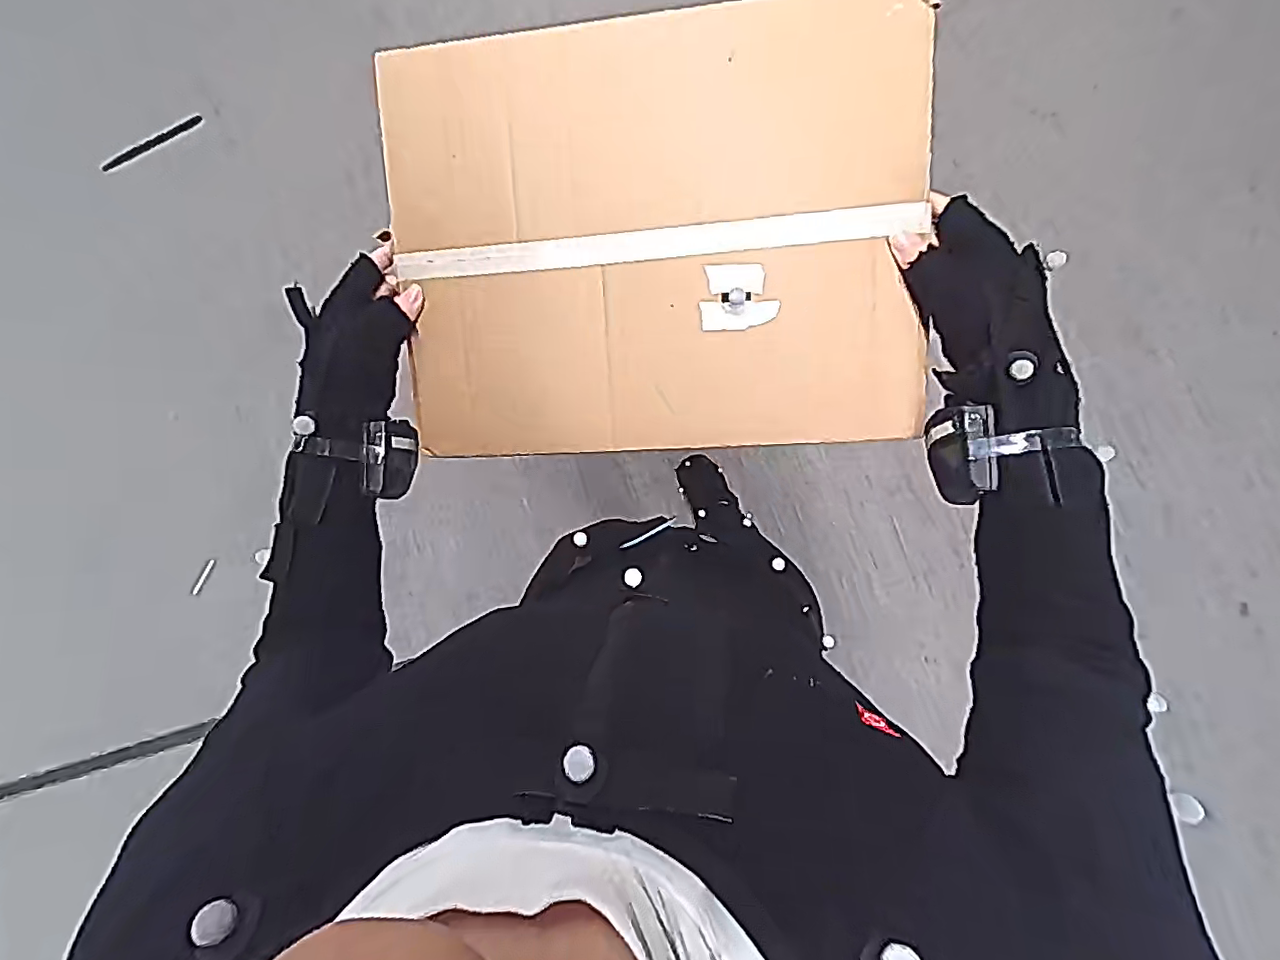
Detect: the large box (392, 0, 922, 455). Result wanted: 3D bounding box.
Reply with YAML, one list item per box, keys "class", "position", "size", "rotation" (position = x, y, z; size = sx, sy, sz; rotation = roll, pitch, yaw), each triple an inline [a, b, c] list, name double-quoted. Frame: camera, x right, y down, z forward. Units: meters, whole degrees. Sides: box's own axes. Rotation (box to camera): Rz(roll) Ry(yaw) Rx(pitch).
- class: "large box"
  position: [0.026, -0.209, 0.569]
  size: [0.408, 0.320, 0.320]
  rotation: [-3, 99, 7]
